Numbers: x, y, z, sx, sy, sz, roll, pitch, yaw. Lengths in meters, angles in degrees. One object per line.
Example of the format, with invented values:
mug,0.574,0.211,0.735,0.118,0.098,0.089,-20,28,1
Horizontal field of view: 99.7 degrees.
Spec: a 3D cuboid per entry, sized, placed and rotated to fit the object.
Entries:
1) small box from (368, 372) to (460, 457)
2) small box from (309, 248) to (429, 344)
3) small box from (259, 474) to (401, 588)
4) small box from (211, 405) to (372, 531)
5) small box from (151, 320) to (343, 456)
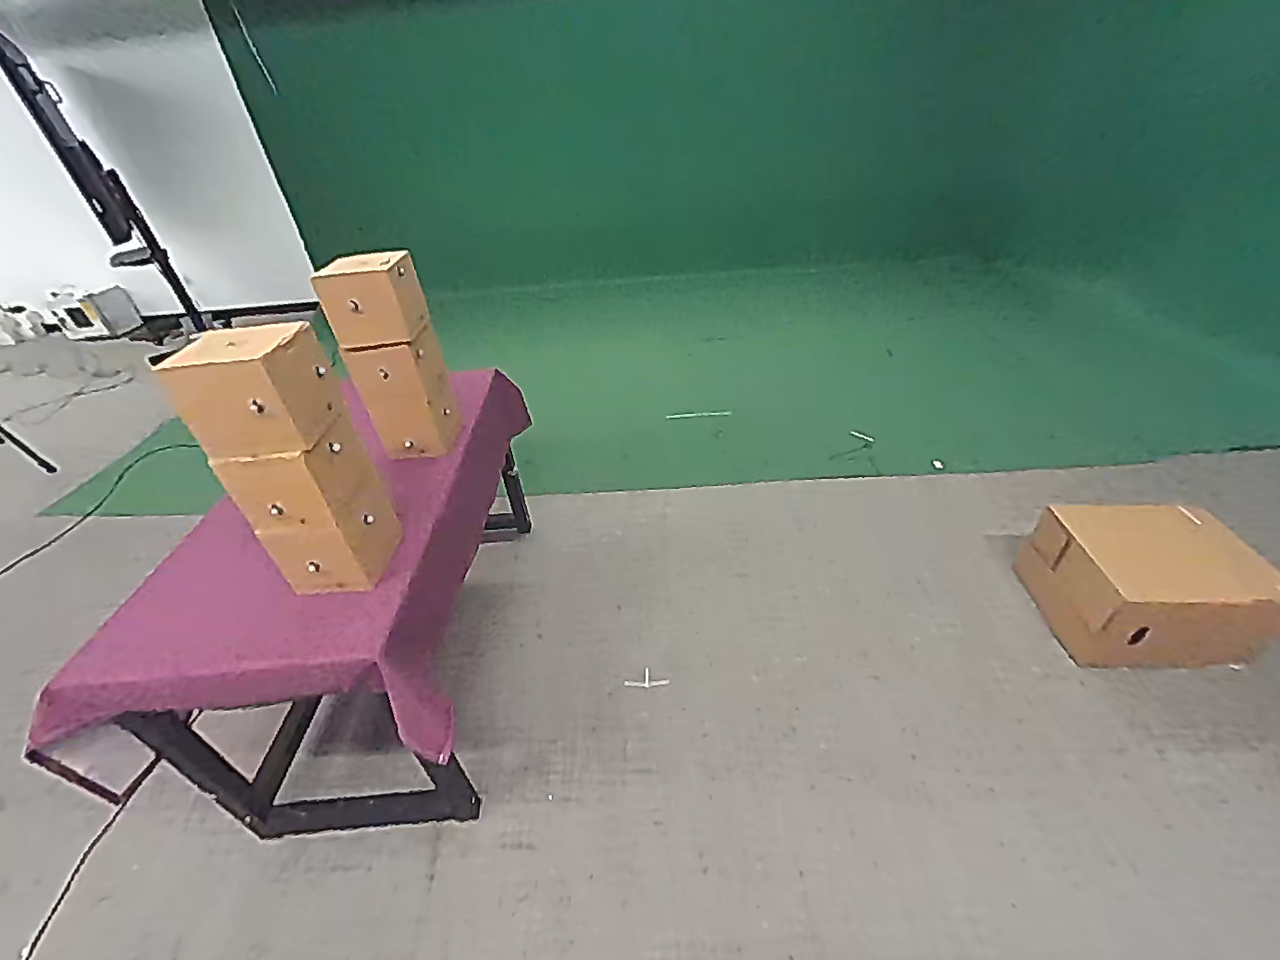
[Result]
small box,-0.616,-0.183,1.502,0.168,0.176,0.179,-4,38,4
small box,-0.634,-0.435,1.290,0.179,0.176,0.168,-7,38,2
small box,-0.621,0.109,1.114,0.168,0.176,0.179,-3,37,4
small box,-0.637,-0.024,1.020,0.168,0.176,0.179,-4,38,3
small box,-0.649,-0.156,0.924,0.179,0.176,0.168,-6,37,2
